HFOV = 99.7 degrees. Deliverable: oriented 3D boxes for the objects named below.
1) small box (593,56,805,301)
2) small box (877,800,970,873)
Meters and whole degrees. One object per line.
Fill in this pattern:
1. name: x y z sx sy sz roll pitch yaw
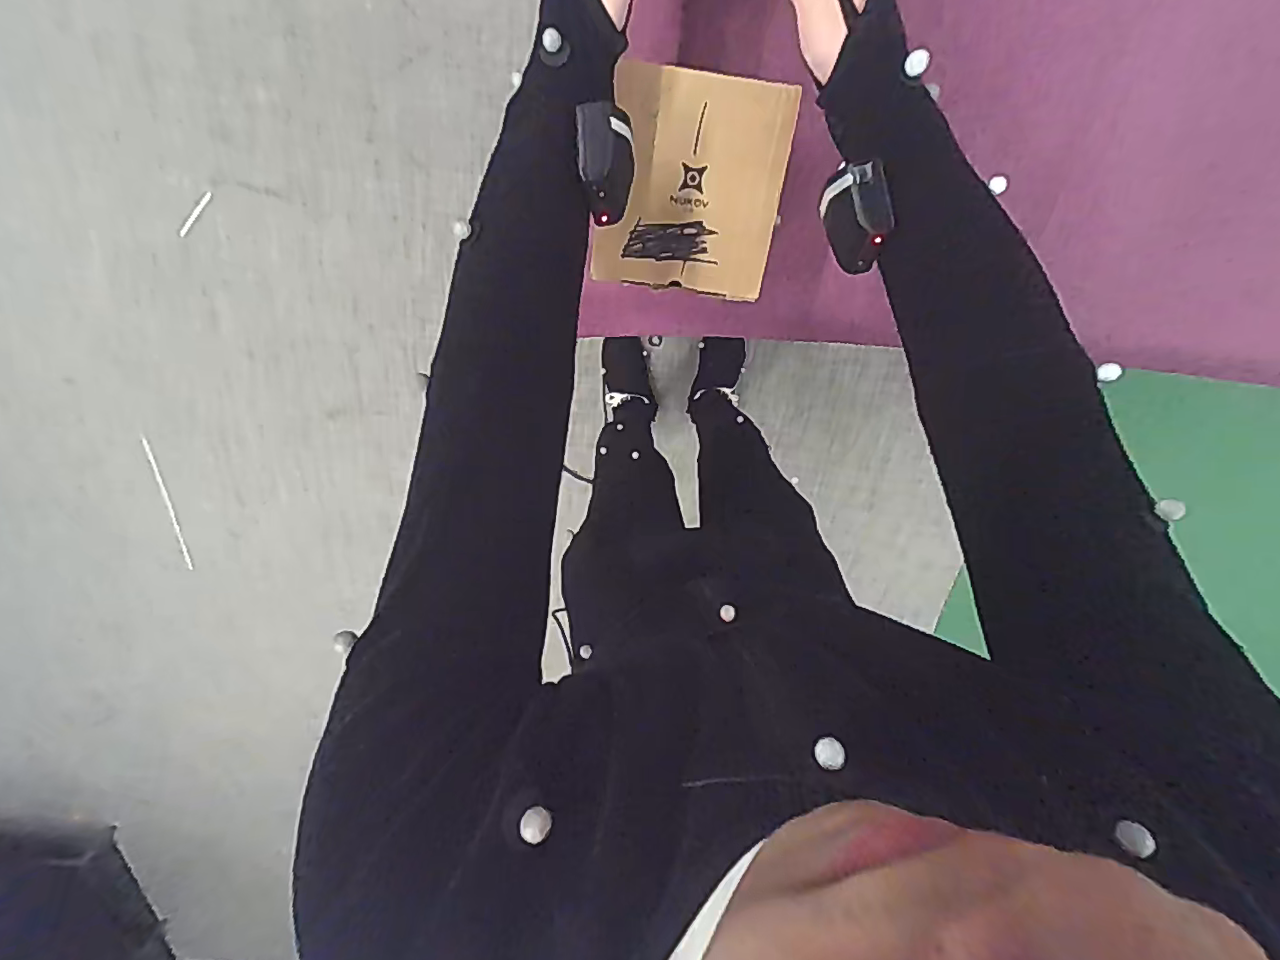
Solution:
1. small box: 0.049 -0.296 0.557 0.168 0.176 0.179 7 115 -3
2. small box: 0.912 1.180 1.752 0.179 0.176 0.168 38 111 -15
